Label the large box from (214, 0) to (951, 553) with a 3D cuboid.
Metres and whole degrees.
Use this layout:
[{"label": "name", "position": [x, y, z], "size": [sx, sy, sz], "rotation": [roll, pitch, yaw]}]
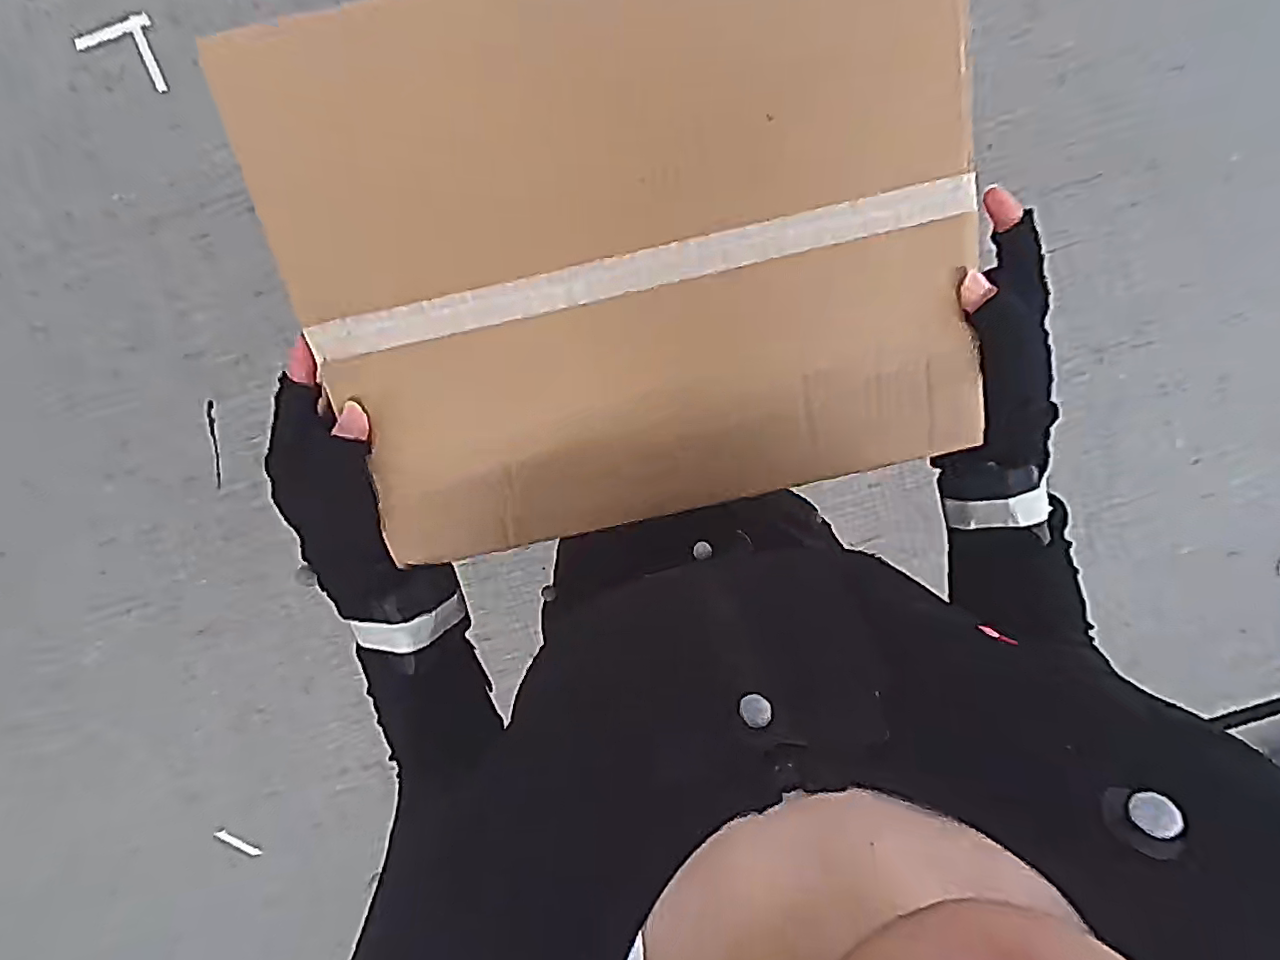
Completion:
[{"label": "large box", "position": [-0.015, -0.178, 0.475], "size": [0.408, 0.320, 0.320], "rotation": [-12, 107, 1]}]
